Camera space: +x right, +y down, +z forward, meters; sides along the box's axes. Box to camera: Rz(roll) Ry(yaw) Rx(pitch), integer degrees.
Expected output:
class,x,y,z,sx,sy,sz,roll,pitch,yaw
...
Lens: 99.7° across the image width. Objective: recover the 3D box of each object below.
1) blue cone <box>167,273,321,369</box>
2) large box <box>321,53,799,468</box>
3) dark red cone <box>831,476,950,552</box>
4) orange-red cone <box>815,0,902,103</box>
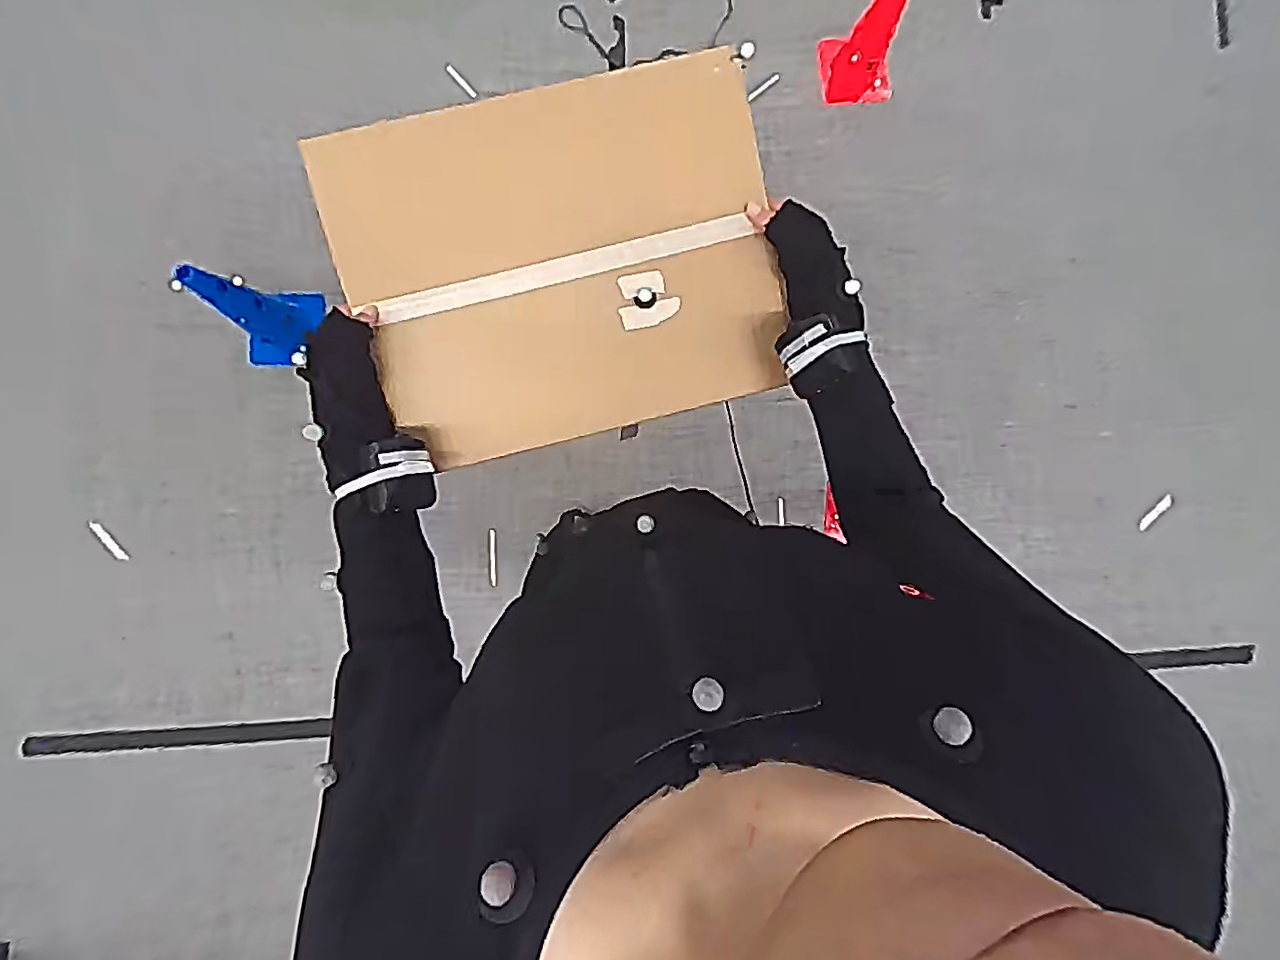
class,x,y,z,sx,sy,sz,roll,pitch,yaw
blue cone,-0.971,-0.410,1.322,0.192,0.380,0.193,0,87,-1
large box,-0.077,-0.224,0.665,0.408,0.320,0.320,-14,99,-3
dark red cone,0.624,0.084,1.315,0.201,0.394,0.202,3,86,-1
orange-red cone,0.625,-1.213,1.413,0.198,0.360,0.199,-5,86,-3
